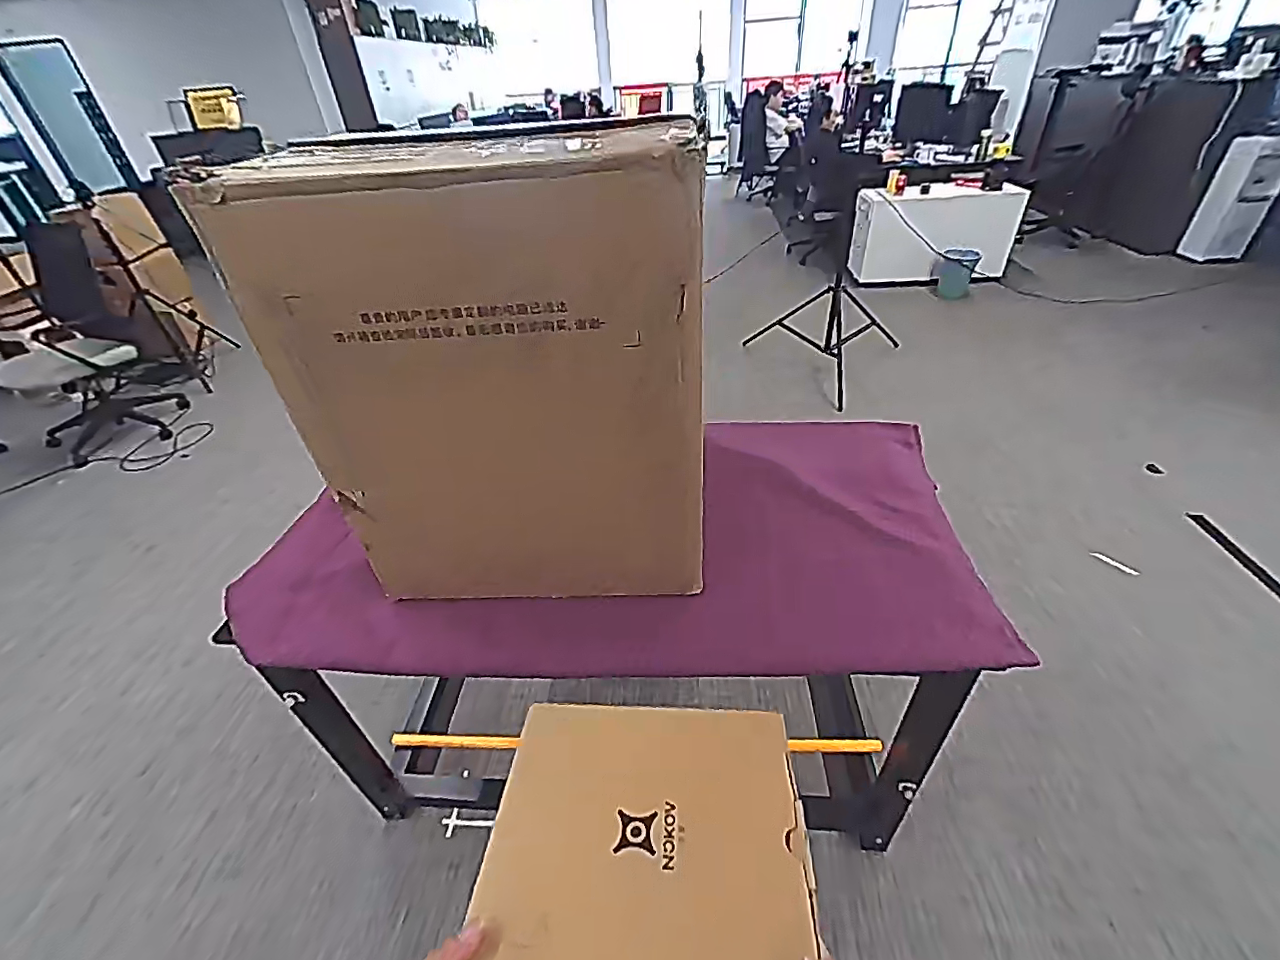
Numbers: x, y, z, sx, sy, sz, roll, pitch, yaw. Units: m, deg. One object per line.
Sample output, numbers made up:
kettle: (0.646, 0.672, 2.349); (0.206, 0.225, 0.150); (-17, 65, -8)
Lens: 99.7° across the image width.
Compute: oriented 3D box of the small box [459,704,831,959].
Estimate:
small box: (0.012, 0.266, 0.338); (0.179, 0.176, 0.168); (-1, 29, 6)
